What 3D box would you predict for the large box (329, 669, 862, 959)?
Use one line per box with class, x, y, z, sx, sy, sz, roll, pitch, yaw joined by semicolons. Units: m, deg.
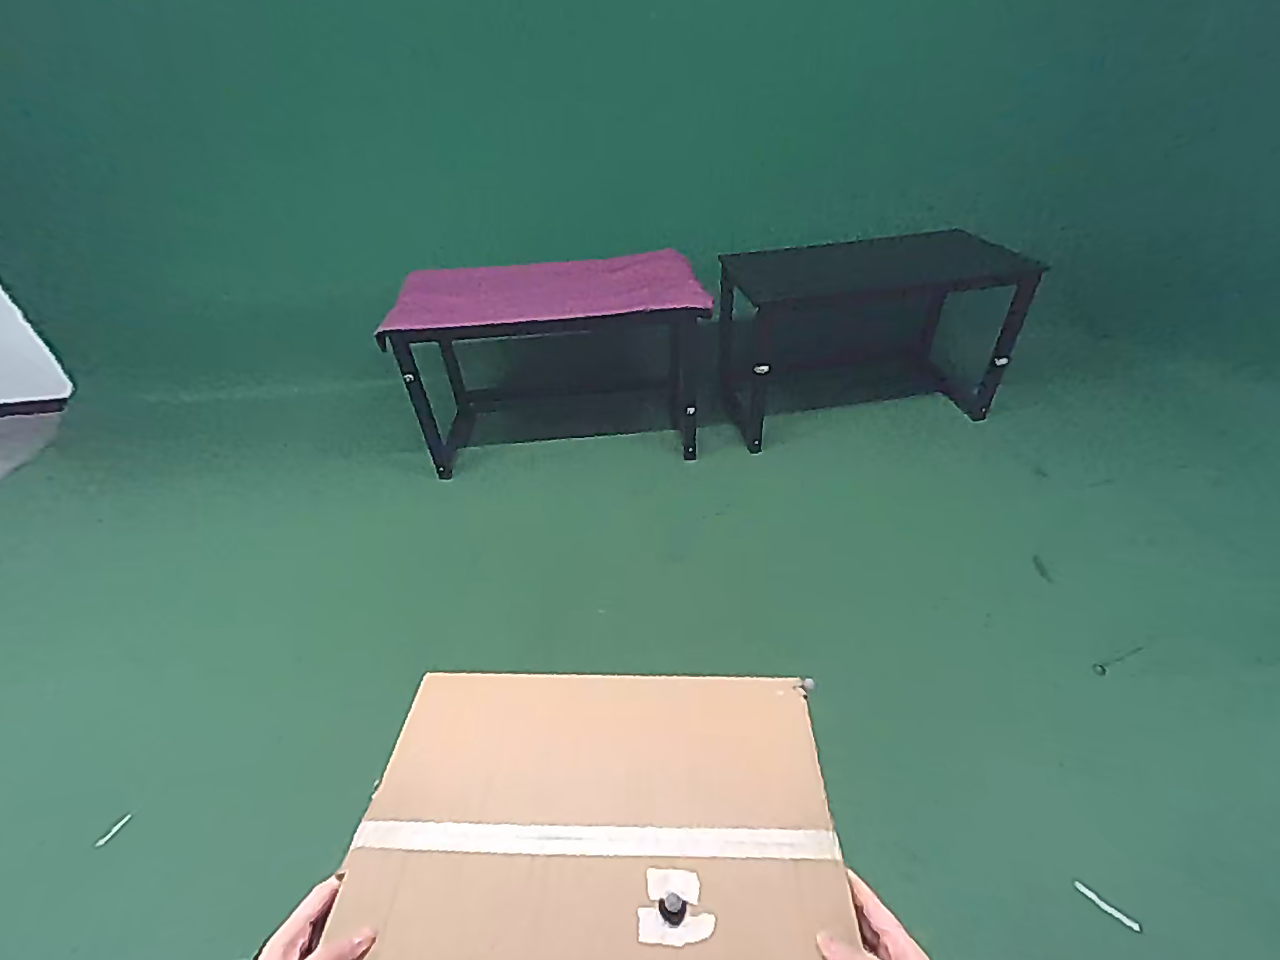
large box;-0.031;0.420;0.560;0.408;0.320;0.320;1;38;2
